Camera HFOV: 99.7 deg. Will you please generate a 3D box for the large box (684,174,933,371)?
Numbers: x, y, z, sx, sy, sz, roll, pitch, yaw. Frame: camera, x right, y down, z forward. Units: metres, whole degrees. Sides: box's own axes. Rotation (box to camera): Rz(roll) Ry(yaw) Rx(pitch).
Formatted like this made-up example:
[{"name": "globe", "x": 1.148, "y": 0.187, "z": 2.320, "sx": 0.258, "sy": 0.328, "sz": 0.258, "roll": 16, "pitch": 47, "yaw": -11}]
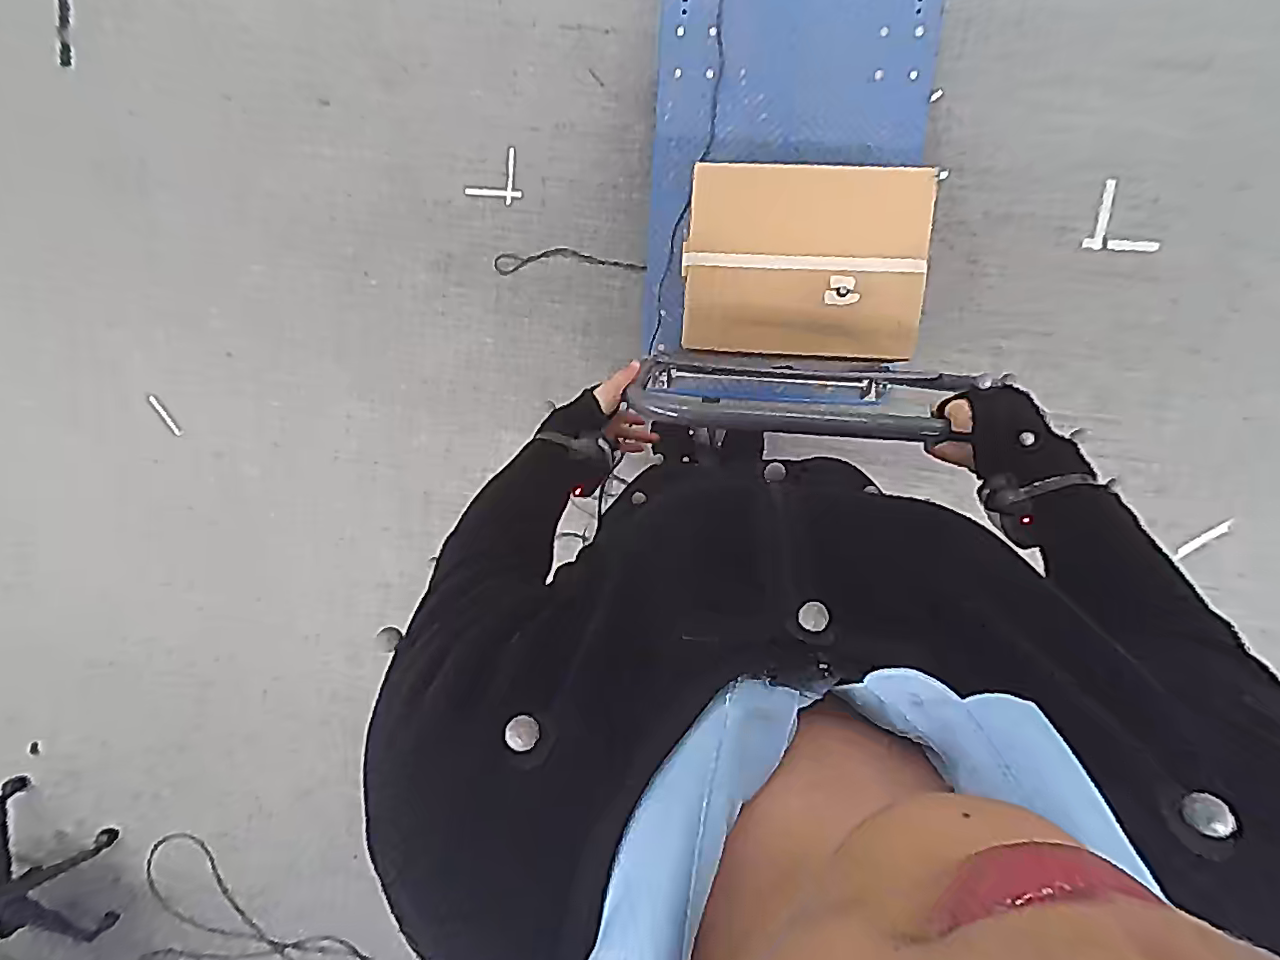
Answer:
[{"name": "large box", "x": 0.294, "y": -0.386, "z": 1.081, "sx": 0.408, "sy": 0.320, "sz": 0.320, "roll": 4, "pitch": 101, "yaw": 4}]
